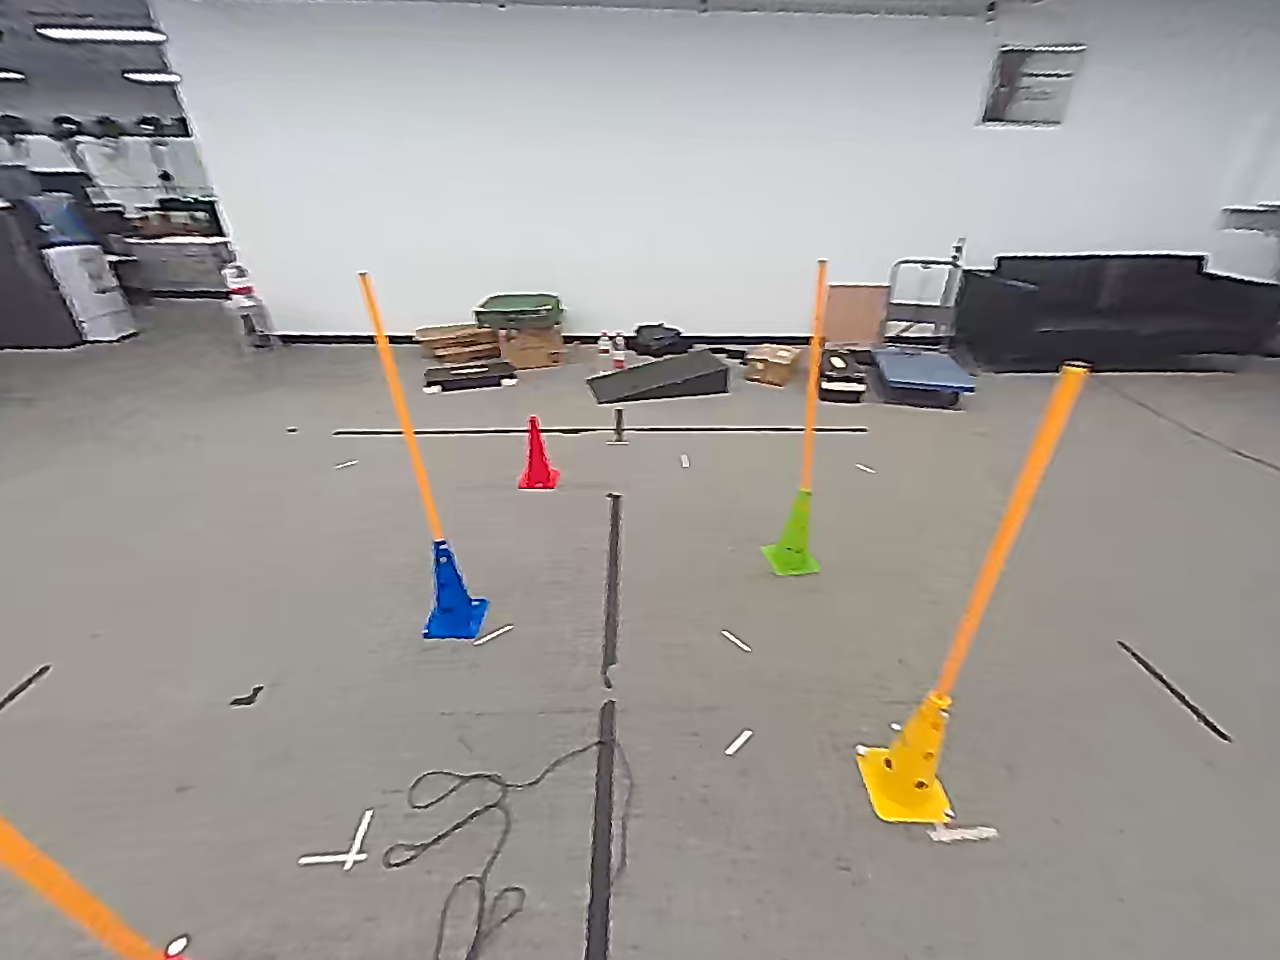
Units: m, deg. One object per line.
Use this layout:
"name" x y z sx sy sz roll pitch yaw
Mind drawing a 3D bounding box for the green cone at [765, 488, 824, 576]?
"green cone" 0.658 0.190 2.218 0.200 0.368 0.202 -5 32 -10

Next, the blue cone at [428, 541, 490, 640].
"blue cone" -0.657 0.368 1.897 0.193 0.380 0.192 1 30 1
